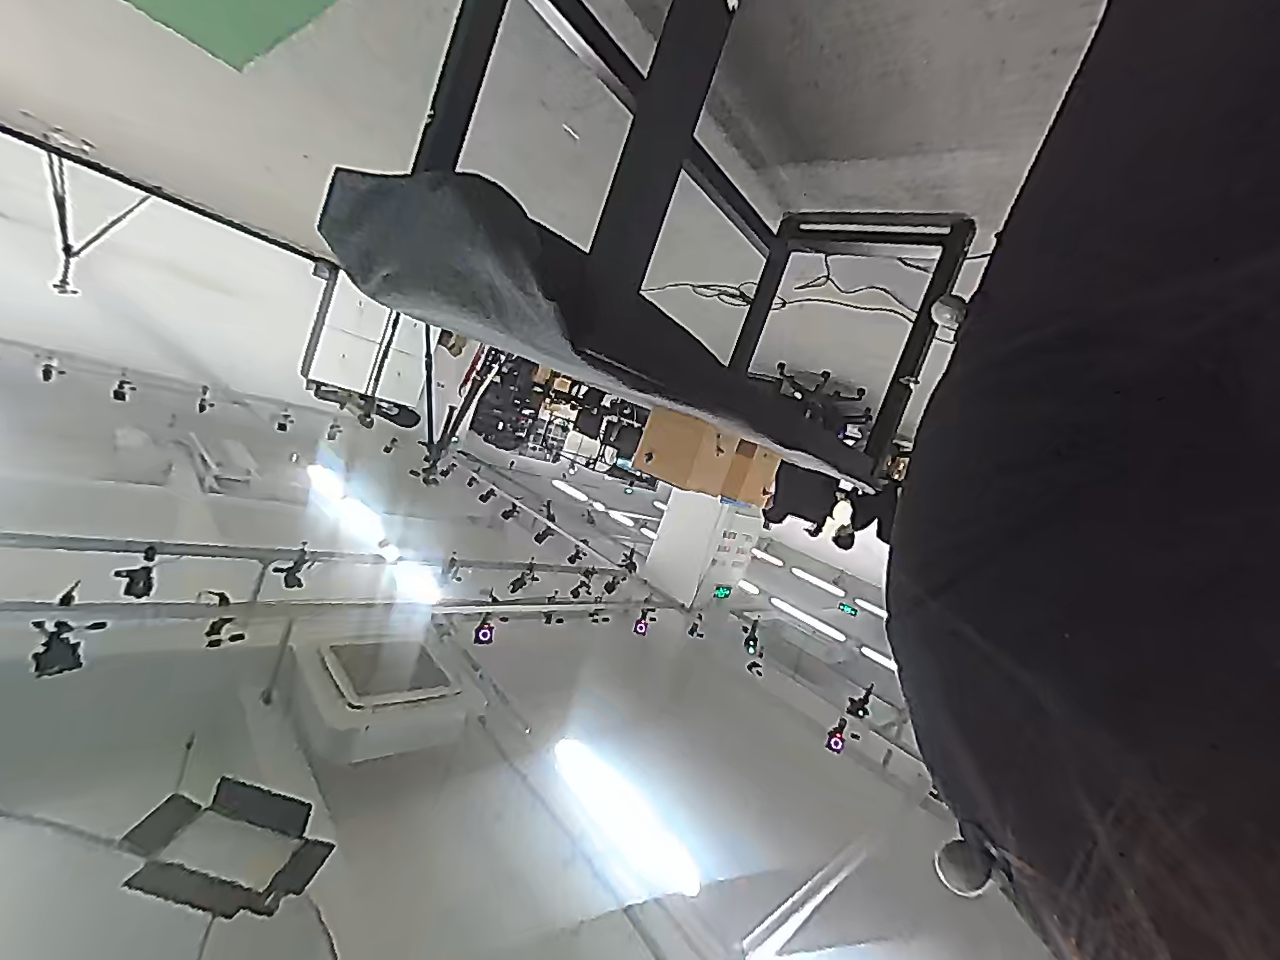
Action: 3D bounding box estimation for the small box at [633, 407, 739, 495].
[{"bbox_3d":[0.119,-0.076,1.351,0.179,0.176,0.168,23,-173,38],"label":"small box"}]
